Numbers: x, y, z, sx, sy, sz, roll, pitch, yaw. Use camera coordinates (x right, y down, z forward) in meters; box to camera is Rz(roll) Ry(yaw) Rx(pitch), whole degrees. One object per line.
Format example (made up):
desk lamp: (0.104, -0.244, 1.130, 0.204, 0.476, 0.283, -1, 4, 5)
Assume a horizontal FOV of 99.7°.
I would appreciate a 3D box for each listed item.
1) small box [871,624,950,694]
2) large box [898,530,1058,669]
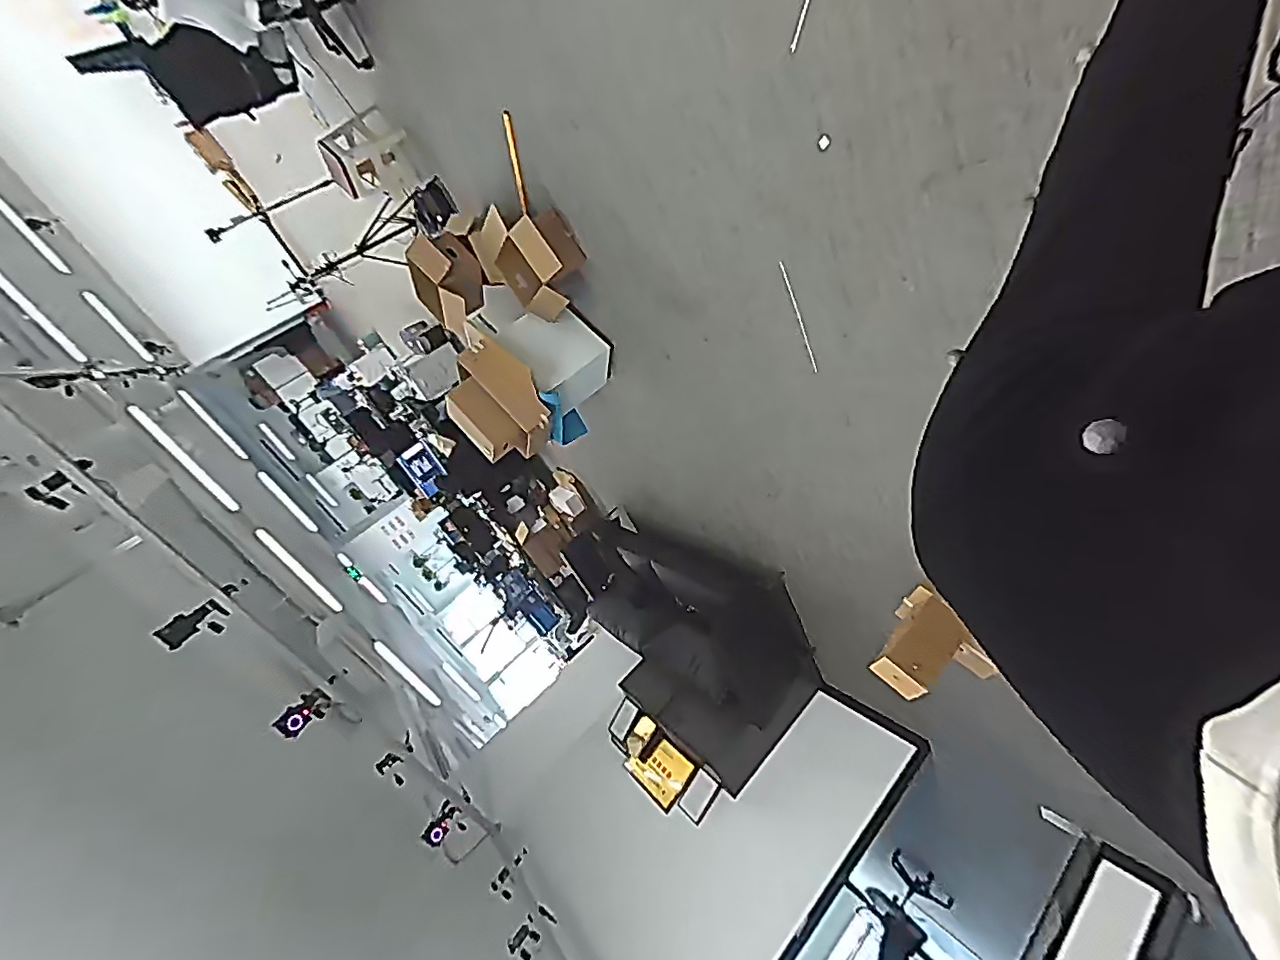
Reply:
small box: (1.012, 0.662, 2.025, 0.179, 0.176, 0.168, 38, 156, 22)
large box: (1.350, 0.480, 2.193, 0.408, 0.320, 0.320, 37, 157, 25)
